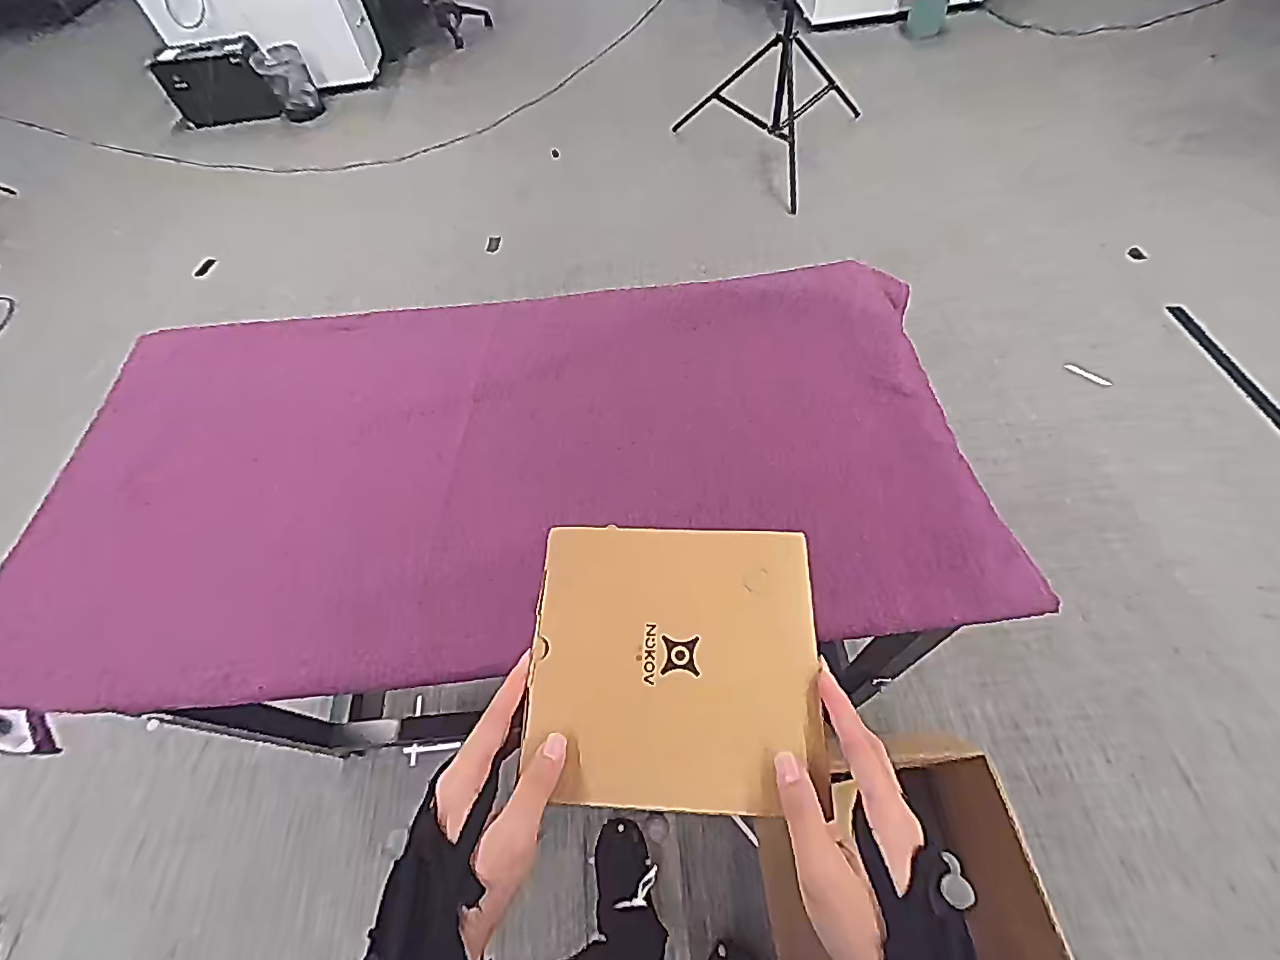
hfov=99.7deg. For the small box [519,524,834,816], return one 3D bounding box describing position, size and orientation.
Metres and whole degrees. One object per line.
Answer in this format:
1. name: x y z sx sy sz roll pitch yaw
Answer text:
1. small box: 0.027 0.142 0.401 0.179 0.176 0.168 0 62 5
